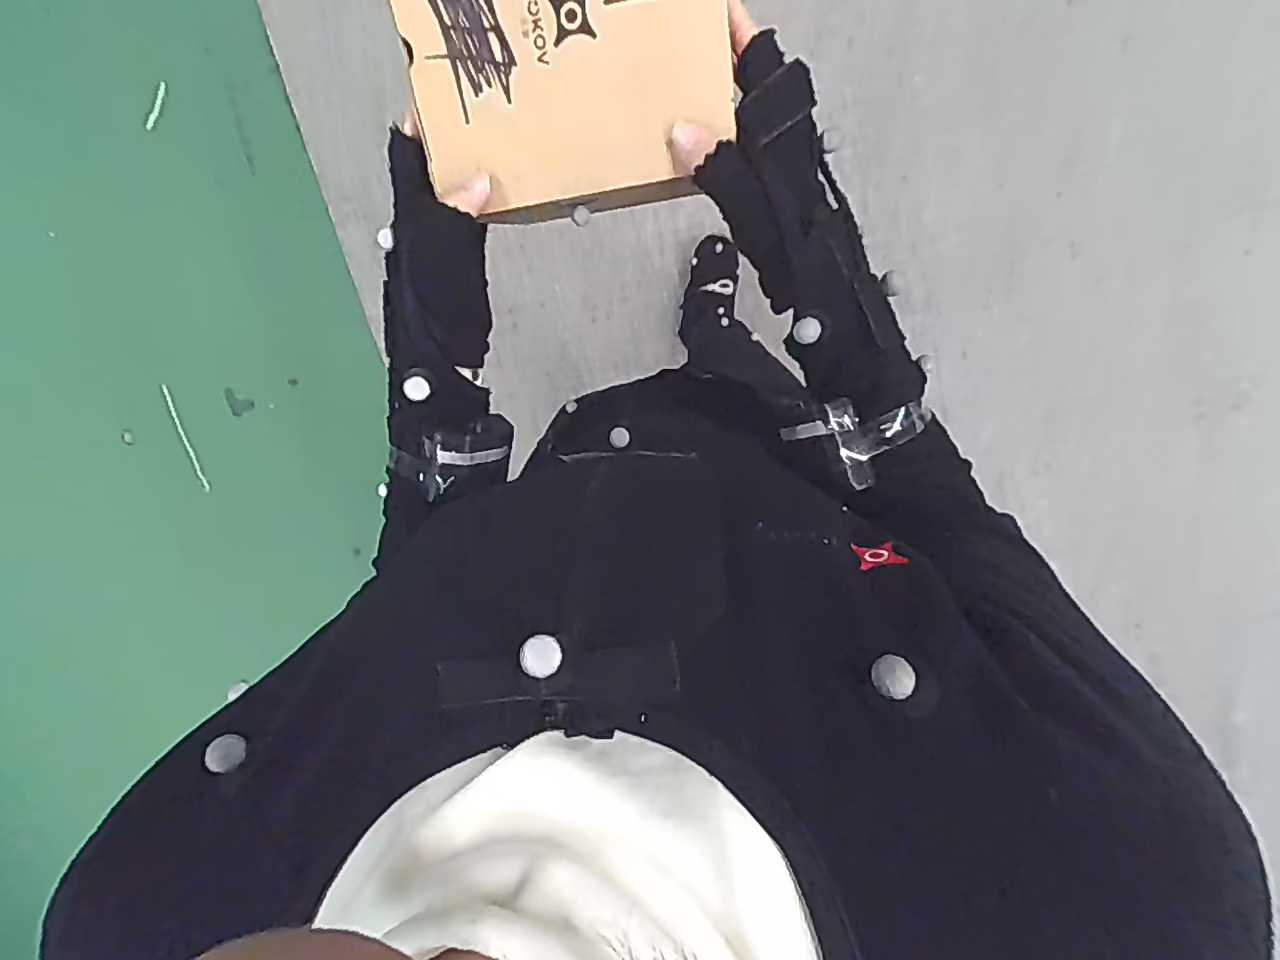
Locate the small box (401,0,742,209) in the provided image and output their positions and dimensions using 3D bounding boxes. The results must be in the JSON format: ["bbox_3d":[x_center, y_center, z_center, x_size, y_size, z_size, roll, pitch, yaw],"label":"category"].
[{"bbox_3d":[-0.032,-0.282,0.351,0.179,0.176,0.168,-6,114,9],"label":"small box"}]
